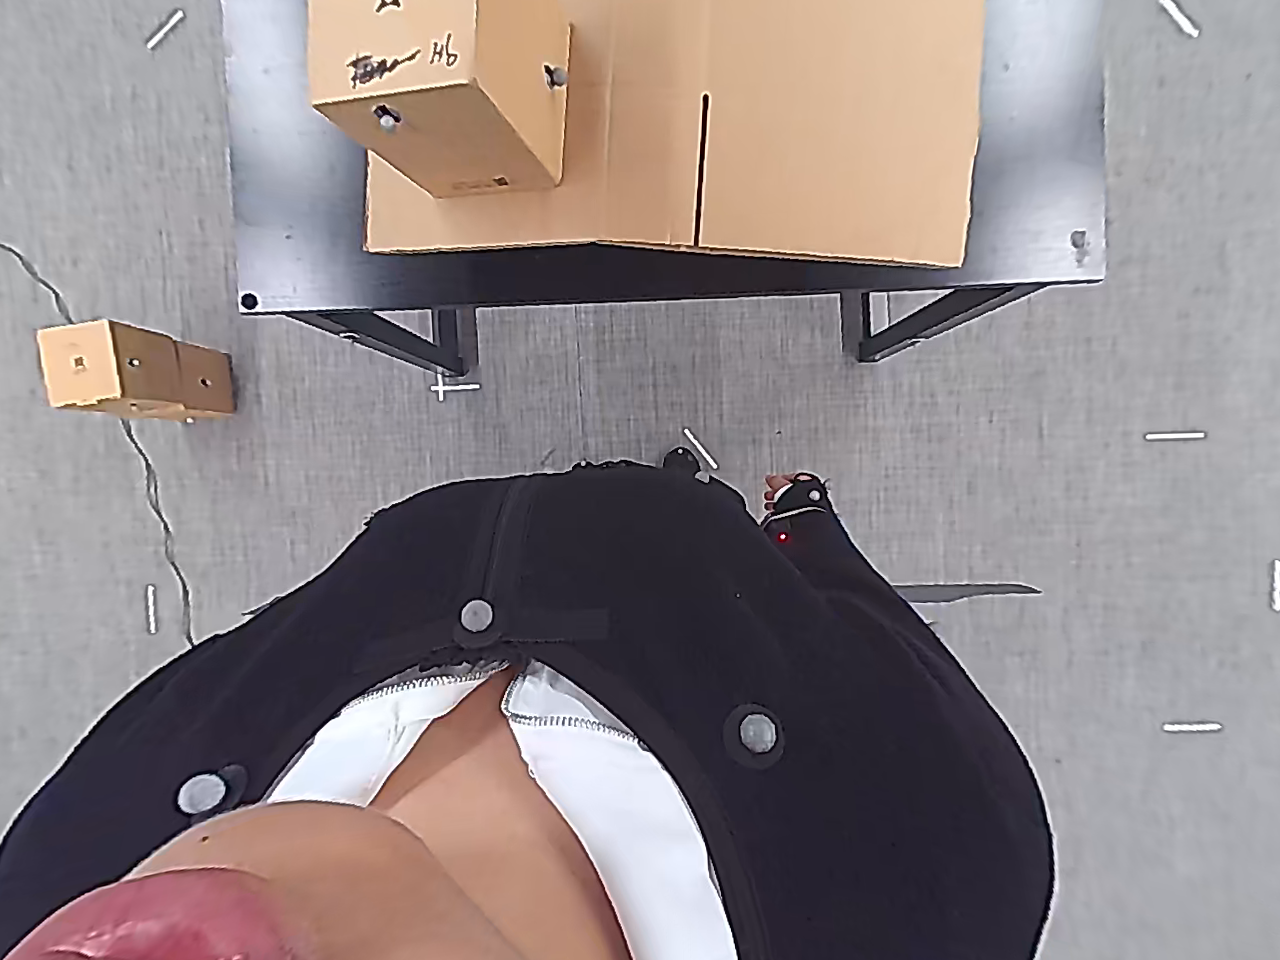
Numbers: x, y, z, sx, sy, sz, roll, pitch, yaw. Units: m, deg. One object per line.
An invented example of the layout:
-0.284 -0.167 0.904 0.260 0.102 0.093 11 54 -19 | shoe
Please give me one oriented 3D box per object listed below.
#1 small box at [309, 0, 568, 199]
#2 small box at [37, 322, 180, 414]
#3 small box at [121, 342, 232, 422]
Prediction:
-0.177 -0.401 0.518 0.168 0.176 0.179 4 92 16 | small box
-1.232 -0.254 1.268 0.168 0.176 0.179 -9 91 1 | small box
-1.227 -0.254 1.431 0.168 0.176 0.179 -6 92 2 | small box
